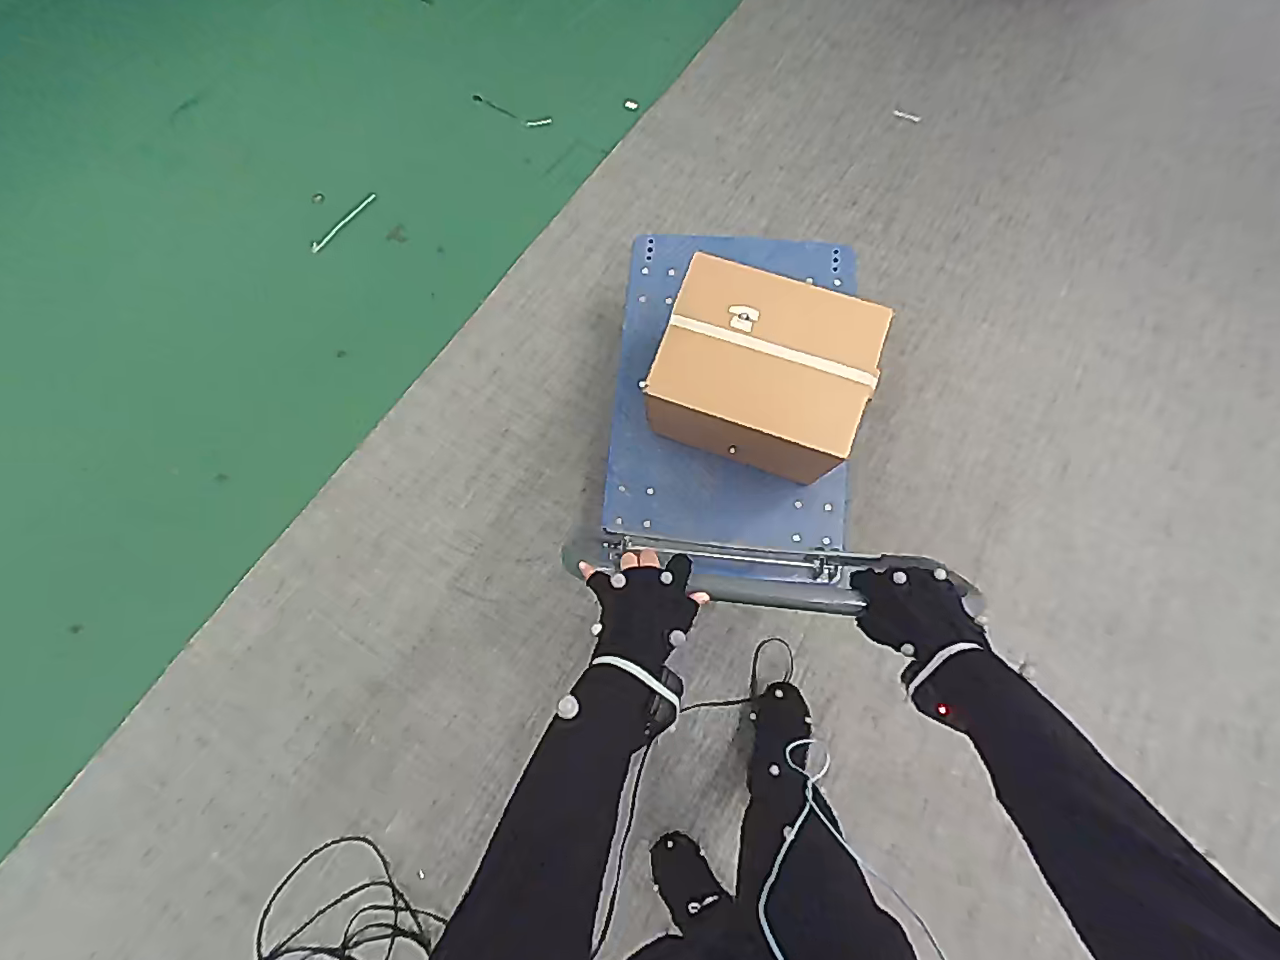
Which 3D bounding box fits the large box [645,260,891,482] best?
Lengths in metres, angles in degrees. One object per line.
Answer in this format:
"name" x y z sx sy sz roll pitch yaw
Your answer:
"large box" 0.260 -0.215 1.182 0.408 0.320 0.320 20 82 8
